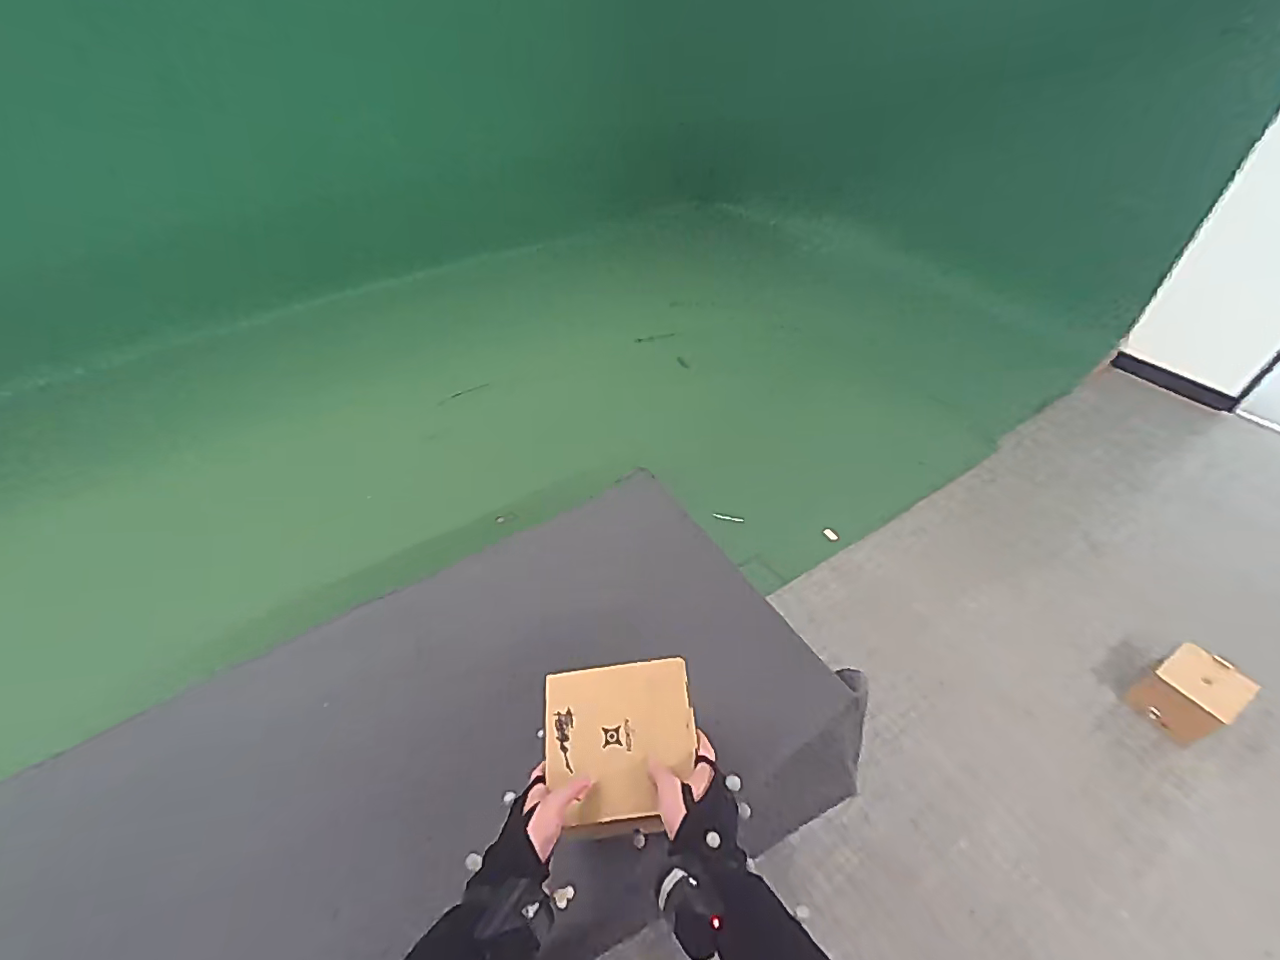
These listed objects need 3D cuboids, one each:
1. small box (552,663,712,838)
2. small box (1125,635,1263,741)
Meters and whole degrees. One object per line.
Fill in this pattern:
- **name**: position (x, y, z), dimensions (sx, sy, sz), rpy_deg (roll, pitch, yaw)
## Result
- **small box**: position (-0.009, 0.348, 0.689), dimensions (0.179, 0.176, 0.168), rpy_deg (-7, 52, 1)
- **small box**: position (1.451, 0.552, 1.432), dimensions (0.179, 0.176, 0.168), rpy_deg (-25, 47, -19)
